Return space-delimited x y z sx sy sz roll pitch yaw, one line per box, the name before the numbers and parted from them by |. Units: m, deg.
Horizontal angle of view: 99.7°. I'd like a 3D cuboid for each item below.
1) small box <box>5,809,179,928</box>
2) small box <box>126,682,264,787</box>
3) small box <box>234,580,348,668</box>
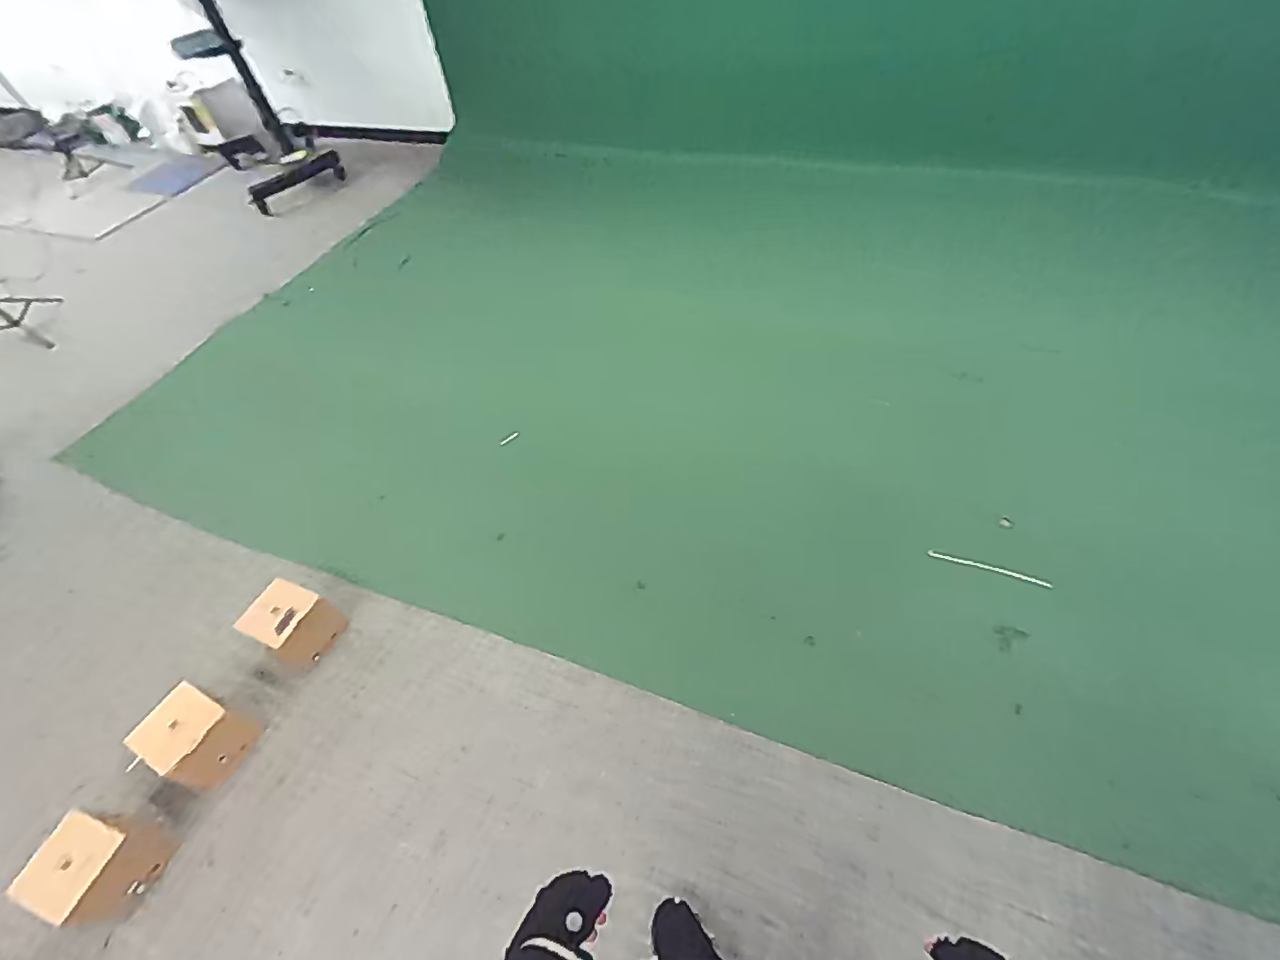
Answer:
small box | -1.211 0.866 1.210 0.179 0.176 0.168 13 56 13
small box | -1.118 0.650 1.372 0.179 0.176 0.168 20 56 20
small box | -0.984 0.416 1.542 0.179 0.176 0.168 15 55 18
